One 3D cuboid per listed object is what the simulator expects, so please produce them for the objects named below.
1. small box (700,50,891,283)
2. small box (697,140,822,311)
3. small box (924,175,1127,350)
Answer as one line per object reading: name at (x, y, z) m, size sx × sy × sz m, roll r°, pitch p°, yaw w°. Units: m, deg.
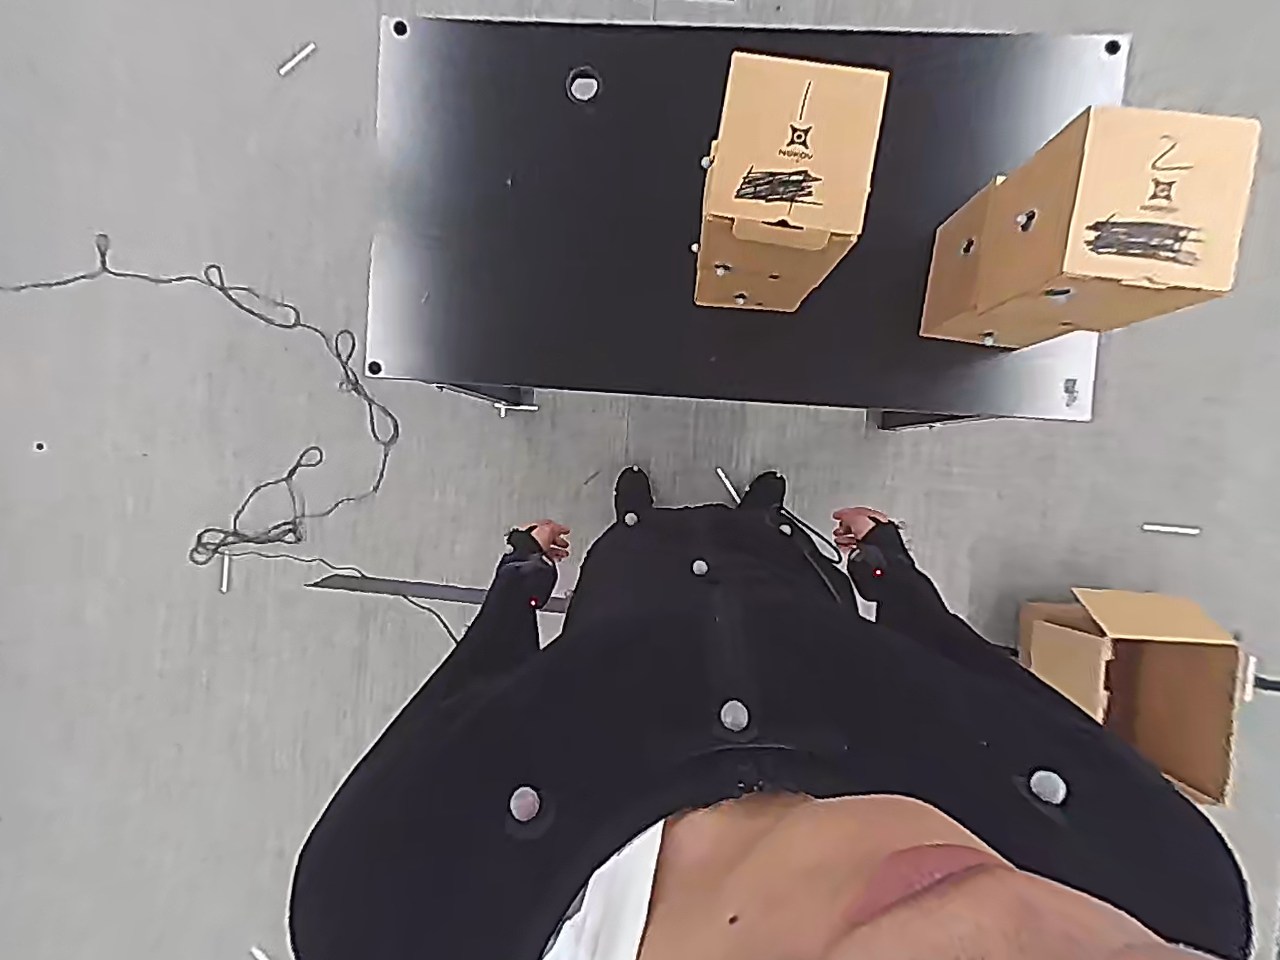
small box at (0.167, -0.351, 0.641) m, size 0.168 × 0.176 × 0.179 m, roll 10°, pitch 93°, yaw 2°
small box at (0.176, -0.368, 0.804) m, size 0.168 × 0.176 × 0.179 m, roll 5°, pitch 93°, yaw 3°
small box at (0.539, -0.302, 0.783) m, size 0.168 × 0.176 × 0.179 m, roll 9°, pitch 93°, yaw 4°
